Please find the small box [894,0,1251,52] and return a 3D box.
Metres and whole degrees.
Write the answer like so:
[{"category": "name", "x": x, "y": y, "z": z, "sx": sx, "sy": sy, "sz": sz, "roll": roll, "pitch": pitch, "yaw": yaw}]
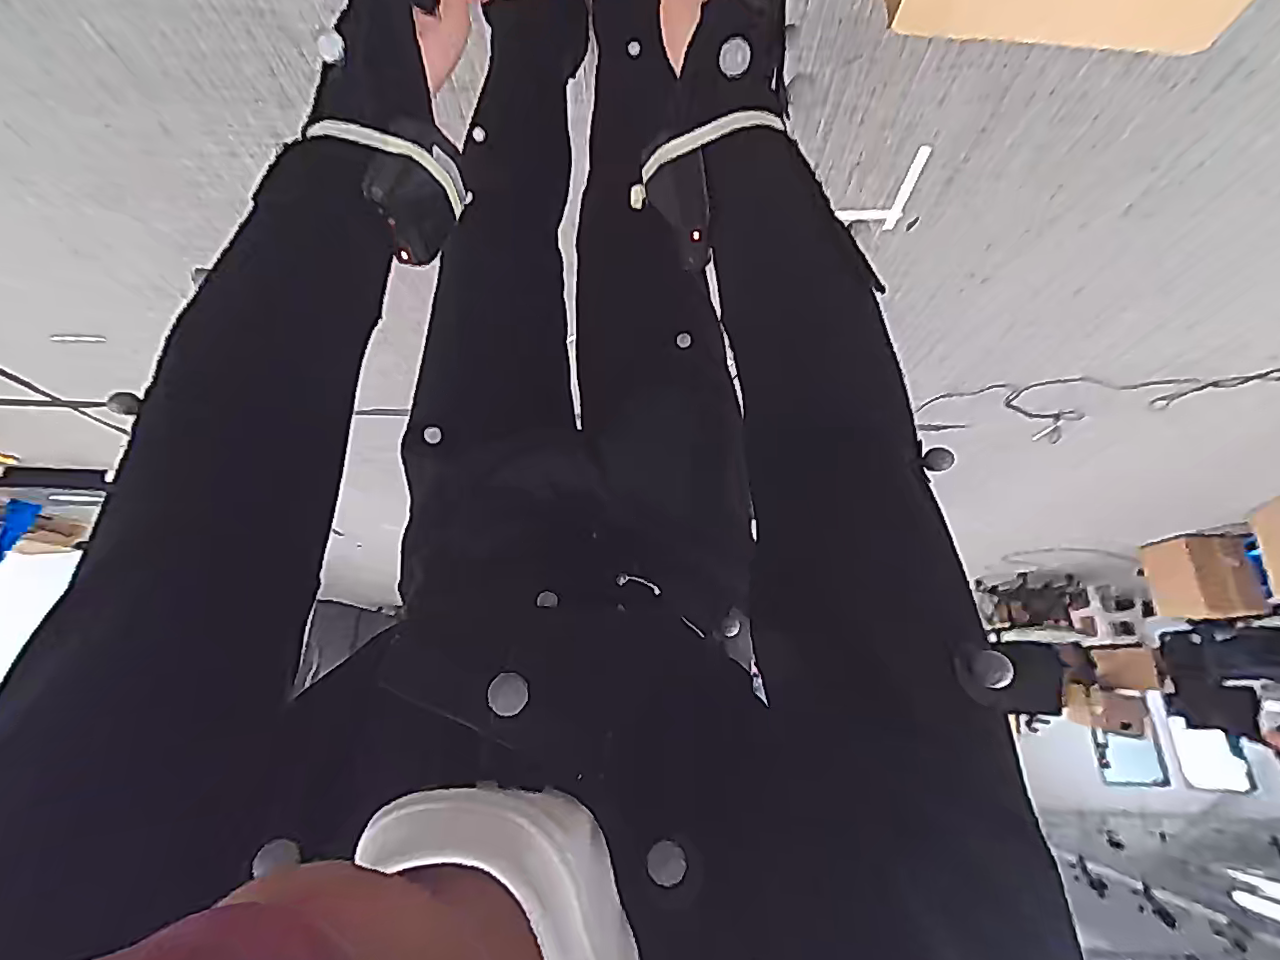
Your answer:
[{"category": "small box", "x": 0.223, "y": -0.339, "z": 0.241, "sx": 0.179, "sy": 0.176, "sz": 0.168, "roll": 2, "pitch": 159, "yaw": -3}]
